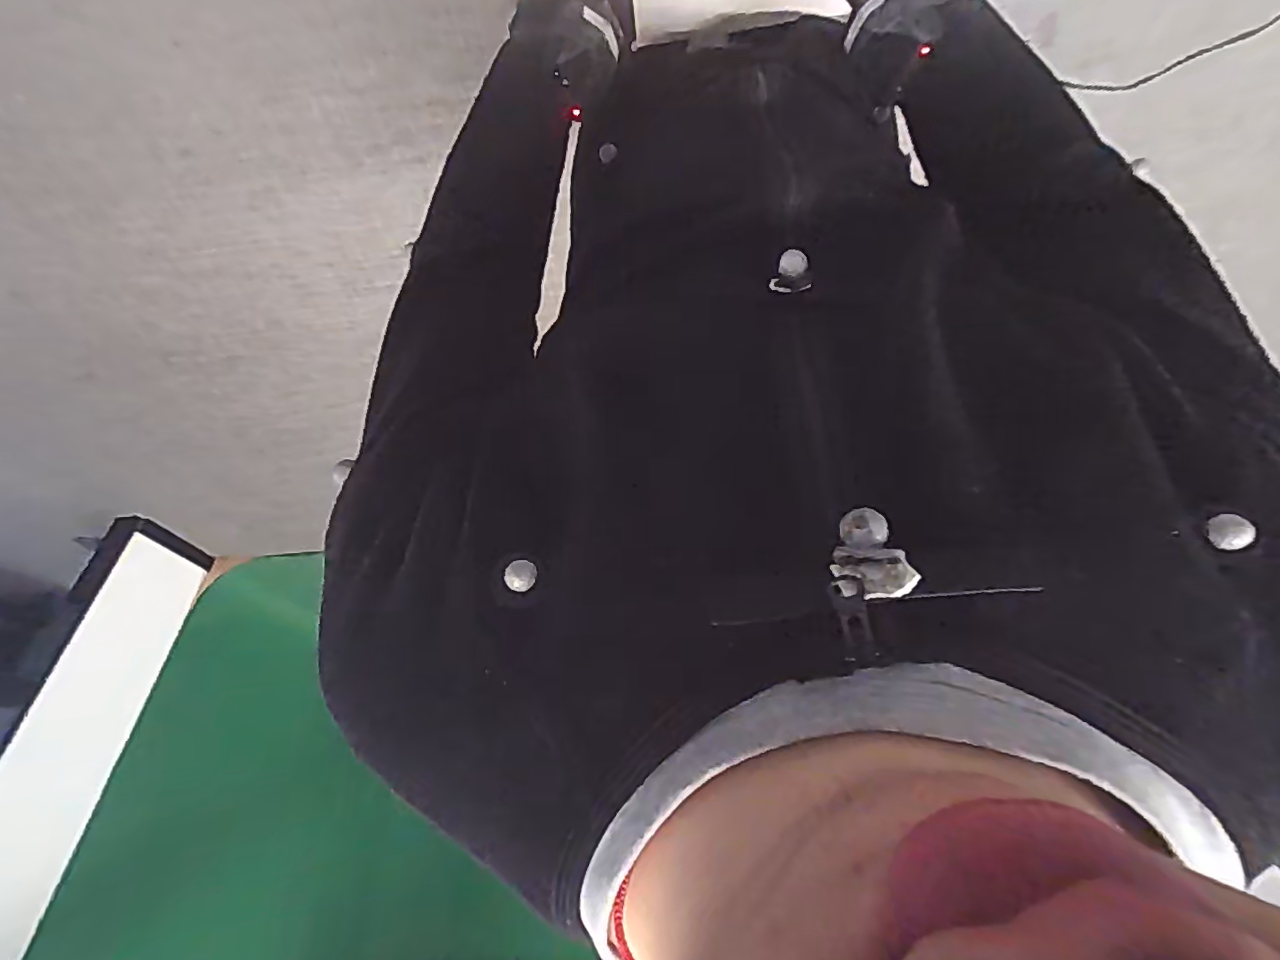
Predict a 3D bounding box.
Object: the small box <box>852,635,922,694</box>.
[{"bbox_3d":[0.895,0.674,1.977,0.179,0.176,0.168,-3,144,7],"label":"small box"}]
